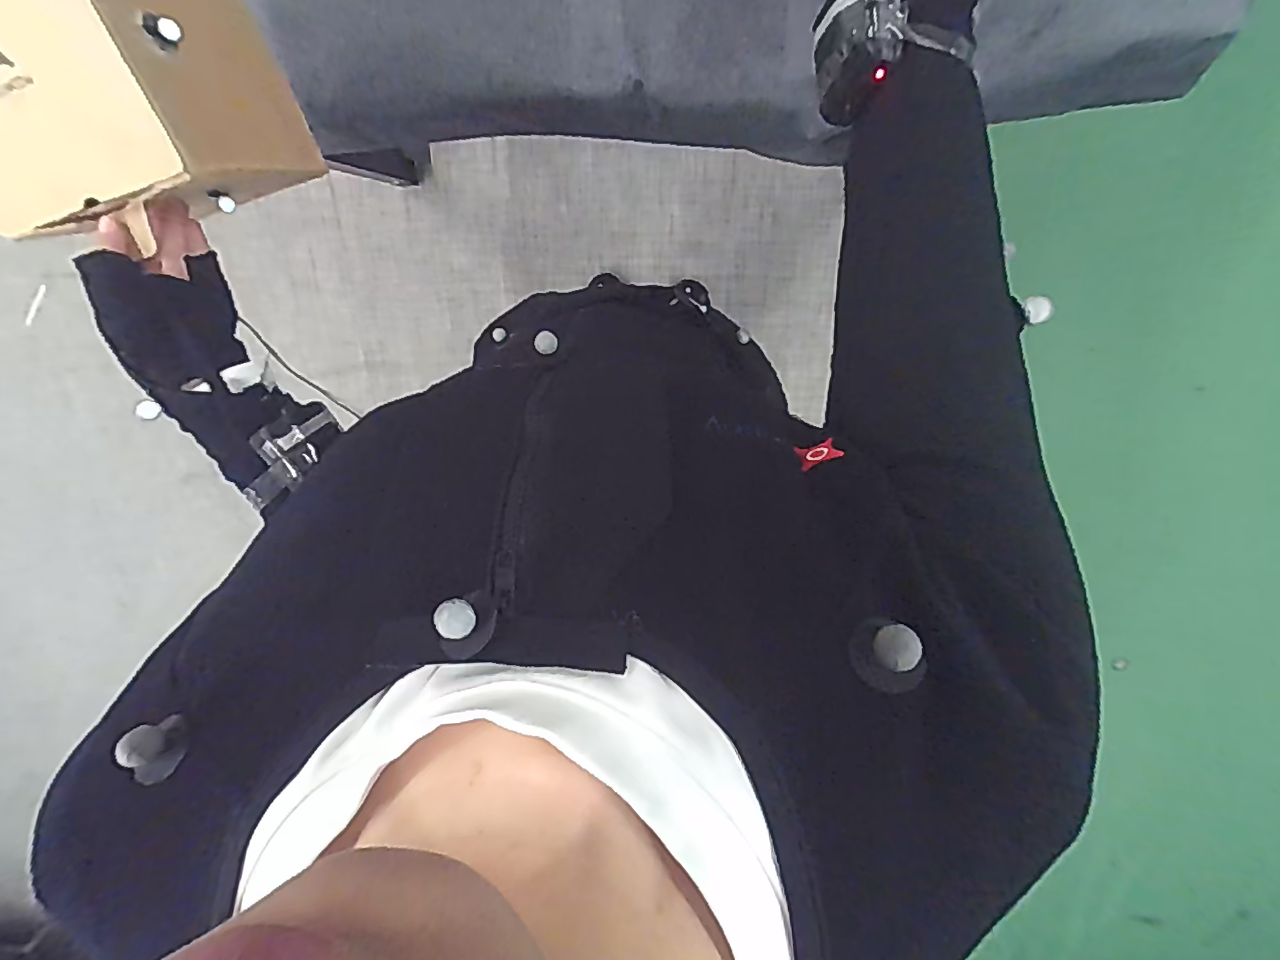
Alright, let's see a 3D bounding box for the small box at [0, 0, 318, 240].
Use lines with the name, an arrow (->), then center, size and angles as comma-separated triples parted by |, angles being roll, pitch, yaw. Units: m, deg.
small box -> -0.385, -0.296, 0.394 | 0.168, 0.176, 0.179 | -12, 118, 10
